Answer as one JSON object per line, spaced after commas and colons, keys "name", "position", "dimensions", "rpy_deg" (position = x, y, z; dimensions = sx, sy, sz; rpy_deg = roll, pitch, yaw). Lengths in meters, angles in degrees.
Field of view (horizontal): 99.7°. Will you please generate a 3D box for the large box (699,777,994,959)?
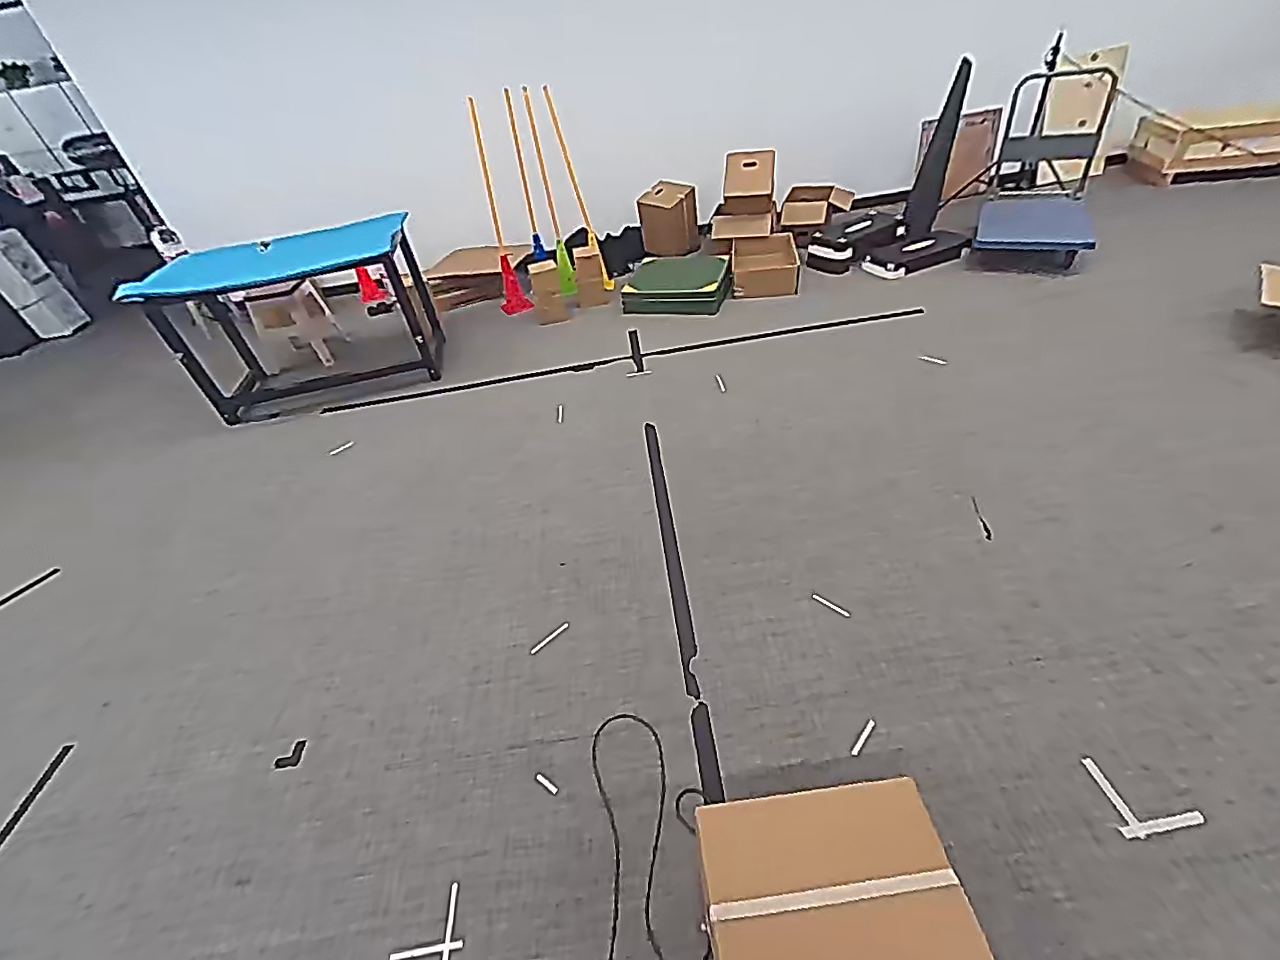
{"name": "large box", "position": [0.336, 0.786, 0.974], "dimensions": [0.408, 0.320, 0.320], "rpy_deg": [-9, 40, 0]}
